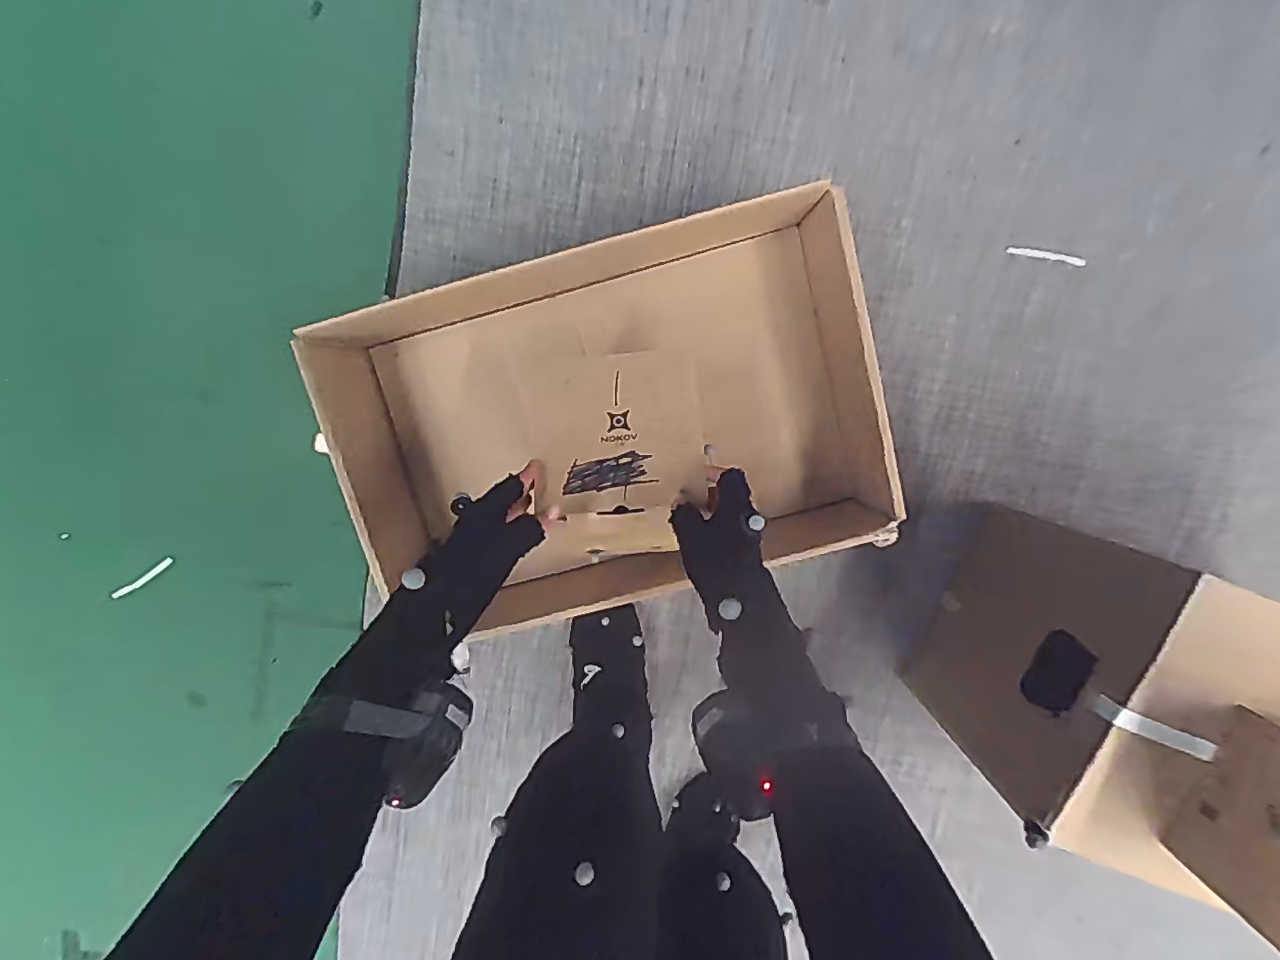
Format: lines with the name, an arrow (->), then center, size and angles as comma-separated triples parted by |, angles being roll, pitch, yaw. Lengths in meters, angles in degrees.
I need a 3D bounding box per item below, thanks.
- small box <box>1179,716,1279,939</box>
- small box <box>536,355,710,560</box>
small box -> 0.628, 0.328, 0.448 | 0.179, 0.176, 0.168 | 16, 100, -1
small box -> -0.010, -0.012, 0.600 | 0.168, 0.176, 0.179 | -5, 67, 5
